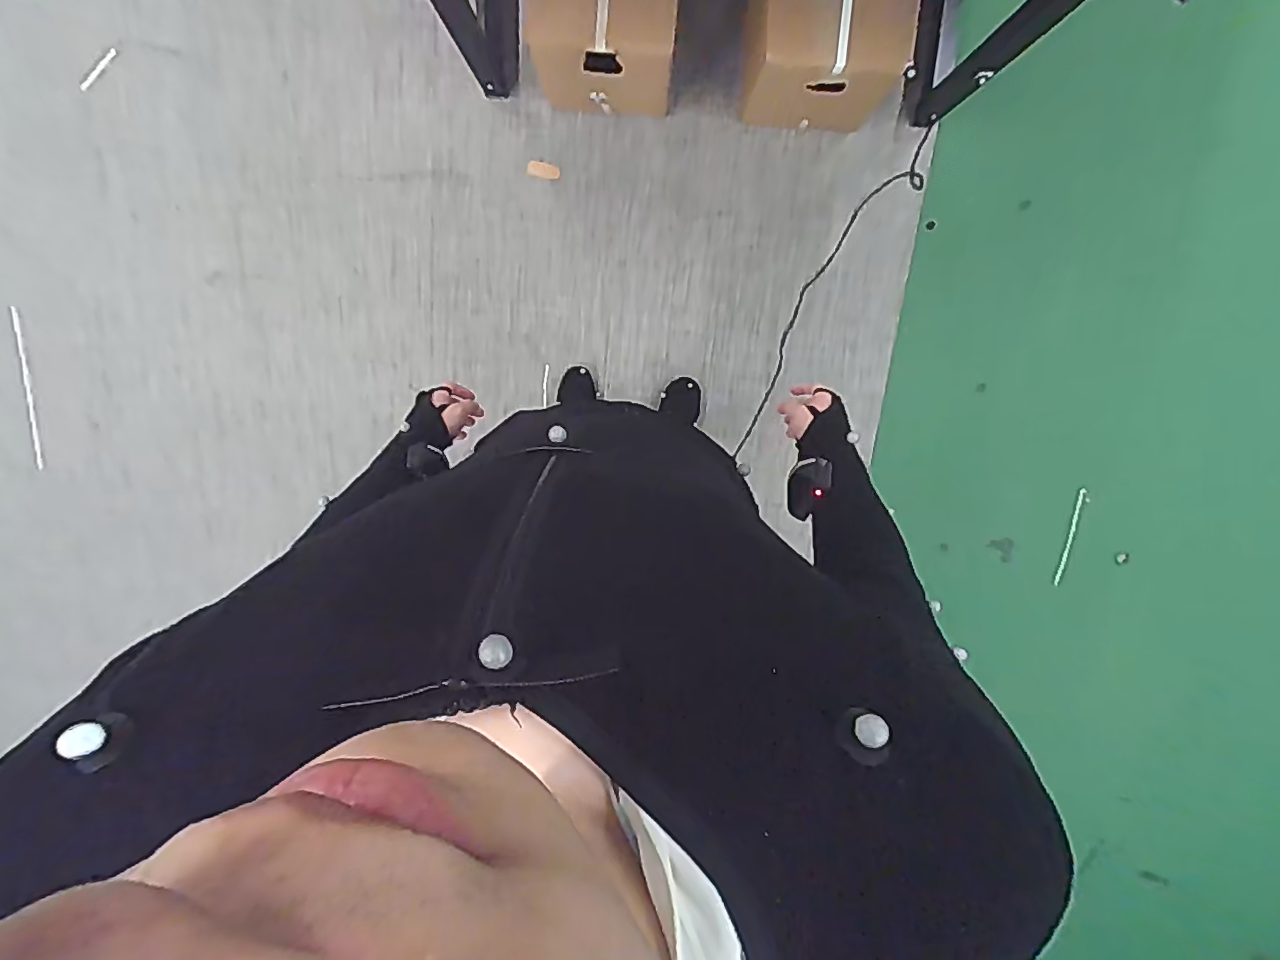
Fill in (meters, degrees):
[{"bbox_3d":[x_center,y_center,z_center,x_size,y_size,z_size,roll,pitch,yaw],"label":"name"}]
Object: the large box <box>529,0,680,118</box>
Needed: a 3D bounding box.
[{"bbox_3d":[-0.063,-1.123,1.238,0.320,0.320,0.408,5,101,-1],"label":"large box"}]
